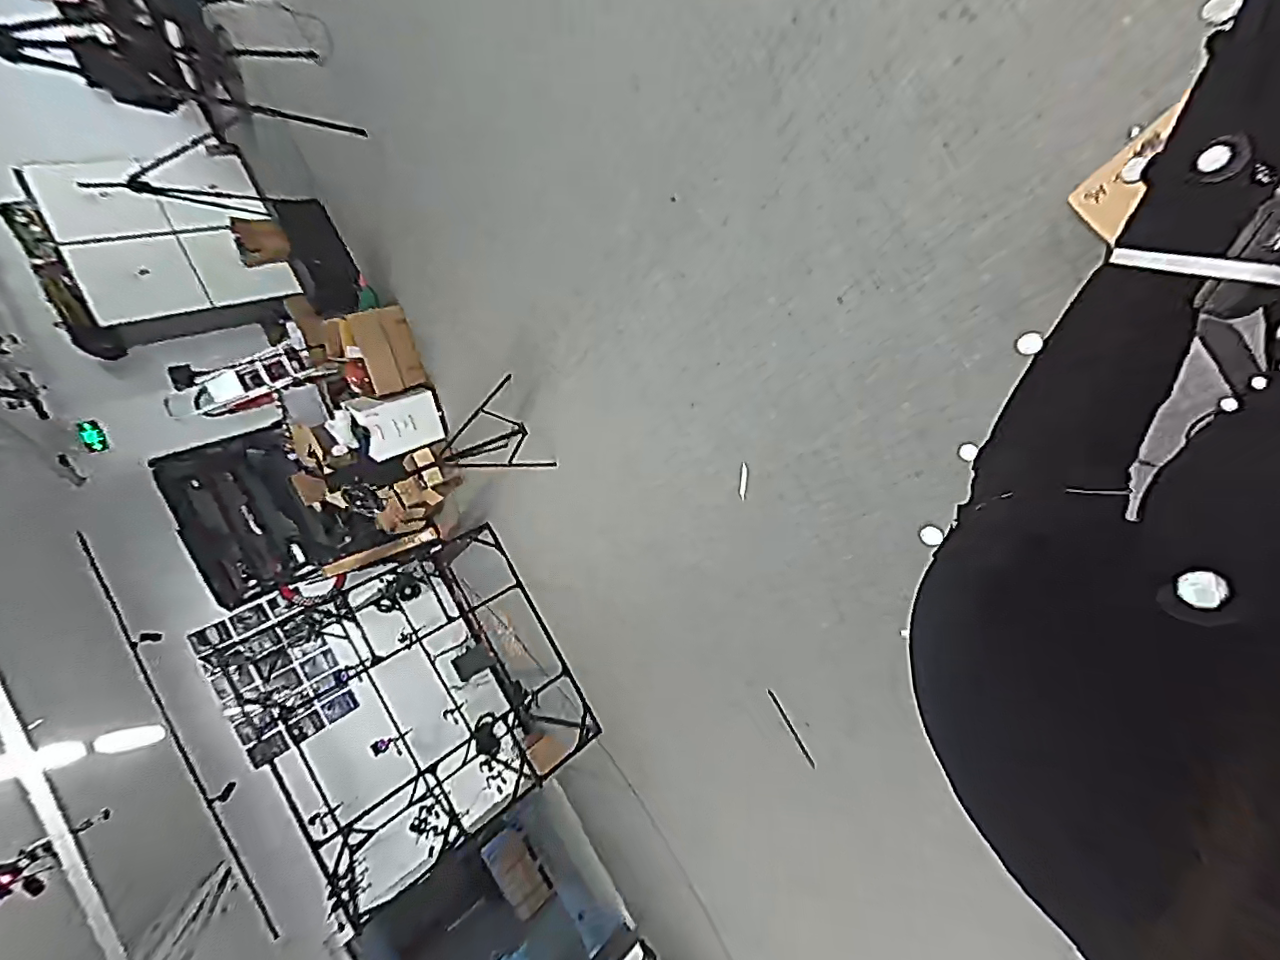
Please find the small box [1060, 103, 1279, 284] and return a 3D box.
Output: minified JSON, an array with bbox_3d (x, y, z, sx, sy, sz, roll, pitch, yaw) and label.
[{"bbox_3d":[0.795,-0.431,0.813,0.179,0.176,0.168,56,145,10],"label":"small box"}]
